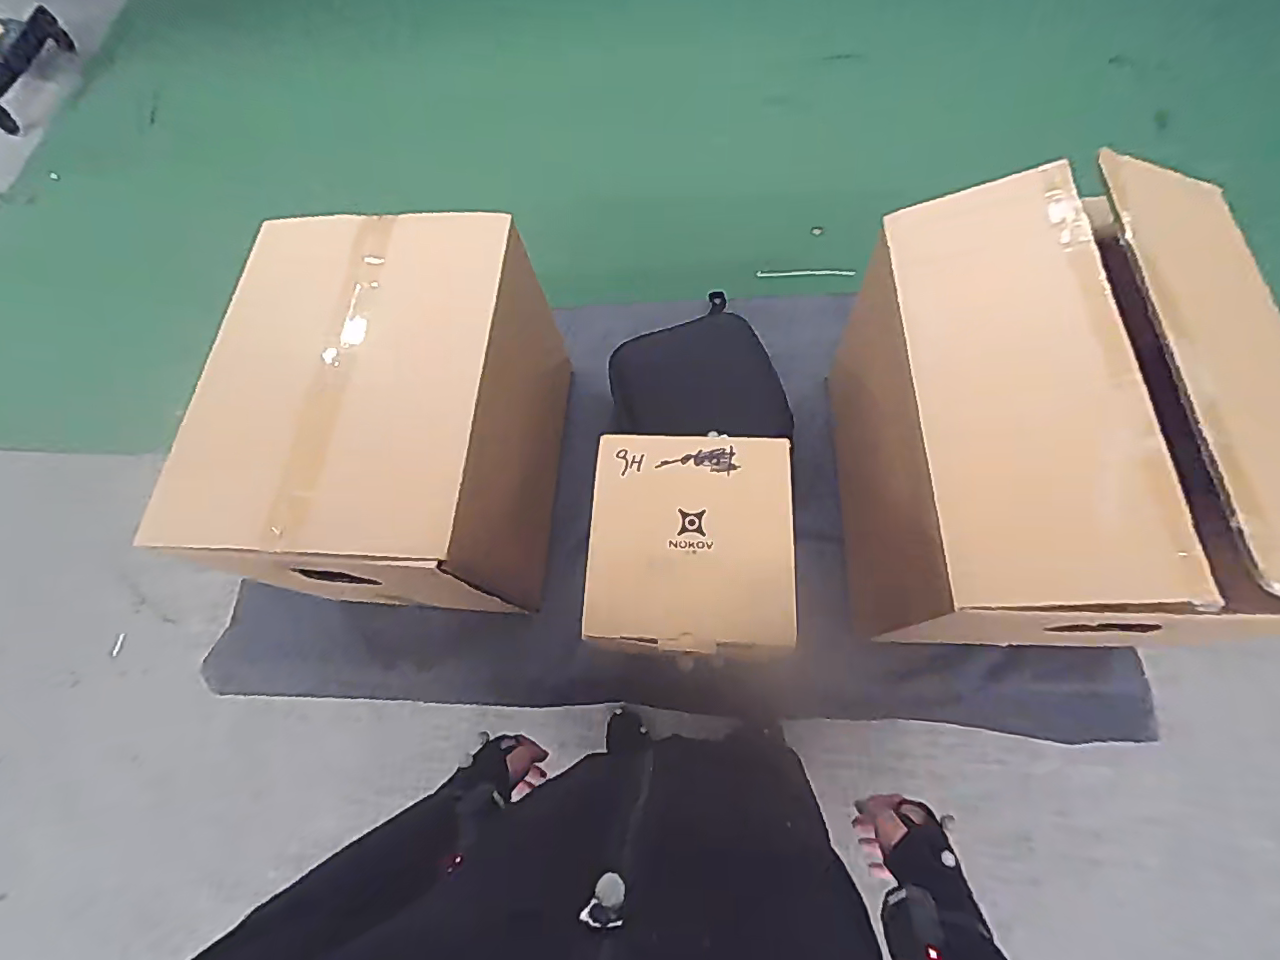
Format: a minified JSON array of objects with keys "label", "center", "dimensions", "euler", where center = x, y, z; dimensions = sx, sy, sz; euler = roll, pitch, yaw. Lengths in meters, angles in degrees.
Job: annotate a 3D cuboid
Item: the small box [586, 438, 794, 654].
[{"label":"small box","center":[0.050,0.072,0.521],"dimensions":[0.168,0.176,0.179],"euler":[2,71,5]}]
